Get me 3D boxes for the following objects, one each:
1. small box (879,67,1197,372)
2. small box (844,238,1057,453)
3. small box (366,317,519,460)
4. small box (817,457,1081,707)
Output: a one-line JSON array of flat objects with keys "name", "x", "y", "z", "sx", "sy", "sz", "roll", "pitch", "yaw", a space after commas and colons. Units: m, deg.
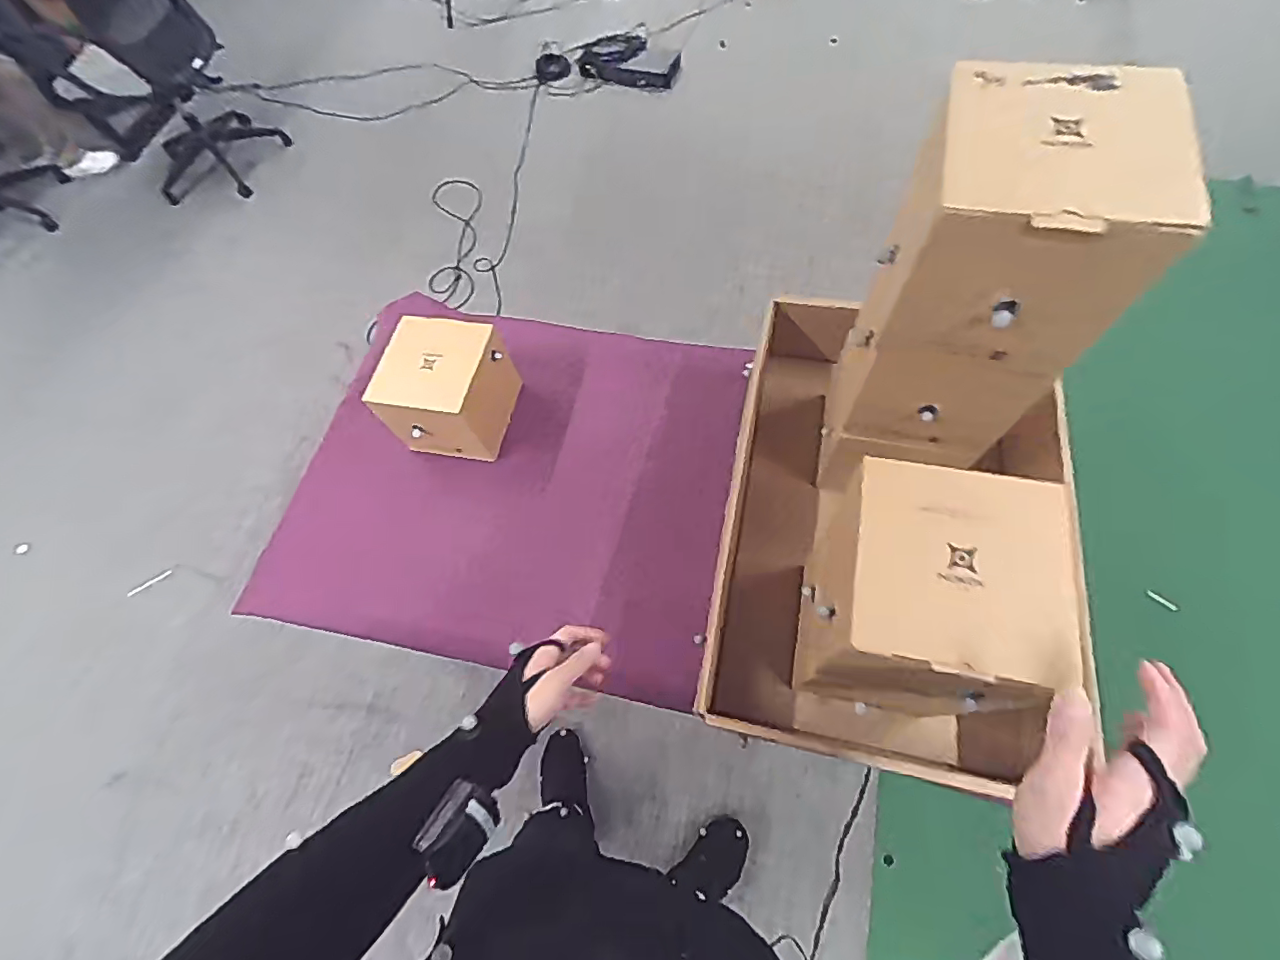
[{"name": "small box", "x": 0.323, "y": -0.219, "z": 0.477, "sx": 0.168, "sy": 0.176, "sz": 0.179, "roll": 12, "pitch": 68, "yaw": 12}, {"name": "small box", "x": 0.344, "y": -0.152, "z": 0.625, "sx": 0.168, "sy": 0.176, "sz": 0.179, "roll": 12, "pitch": 67, "yaw": 11}, {"name": "small box", "x": -0.324, "y": -0.151, "z": 0.932, "sx": 0.168, "sy": 0.176, "sz": 0.179, "roll": 8, "pitch": 64, "yaw": 9}, {"name": "small box", "x": 0.270, "y": 0.104, "z": 0.511, "sx": 0.168, "sy": 0.176, "sz": 0.179, "roll": 10, "pitch": 65, "yaw": 12}]
